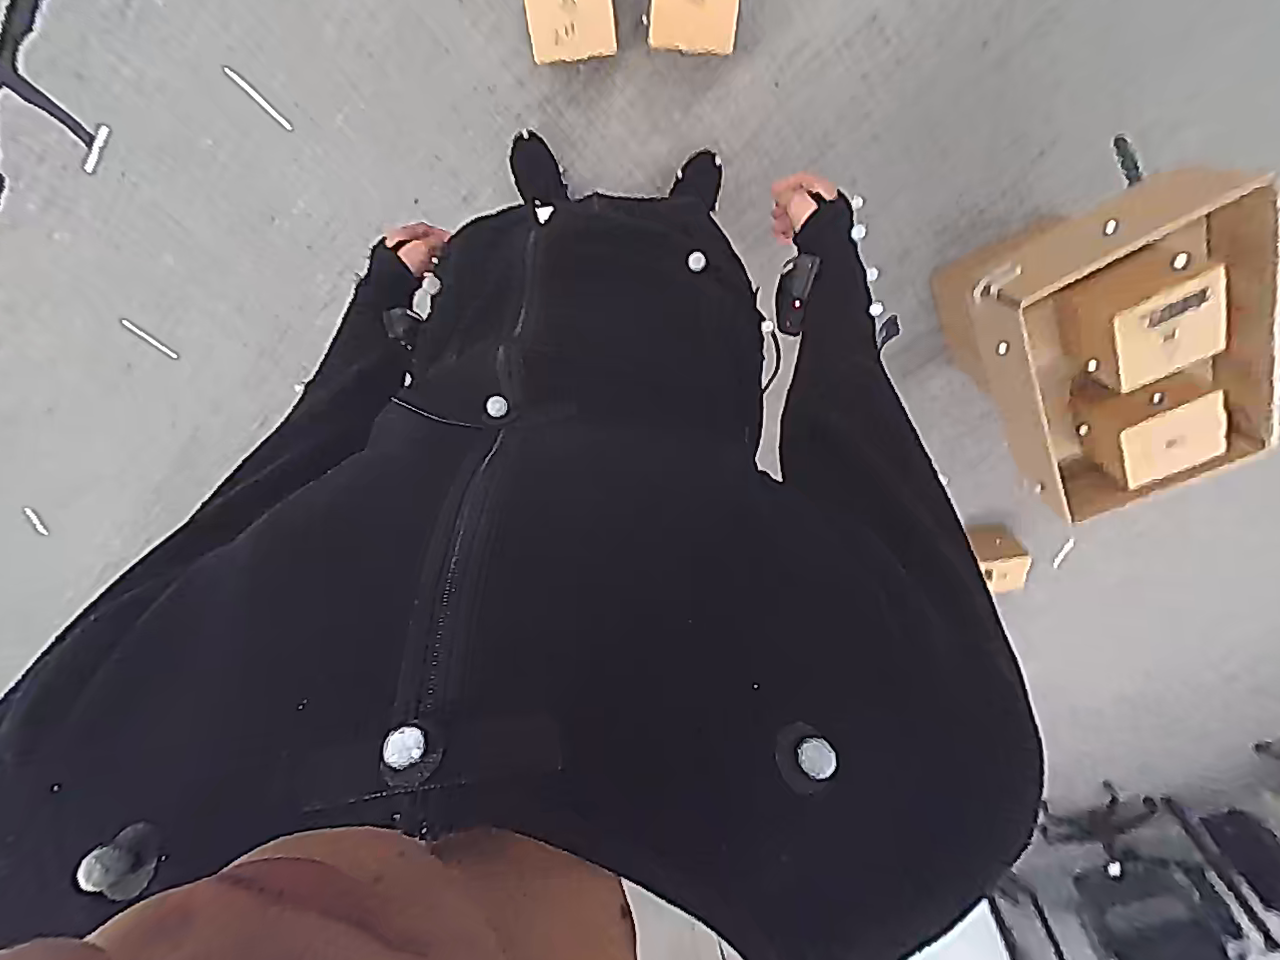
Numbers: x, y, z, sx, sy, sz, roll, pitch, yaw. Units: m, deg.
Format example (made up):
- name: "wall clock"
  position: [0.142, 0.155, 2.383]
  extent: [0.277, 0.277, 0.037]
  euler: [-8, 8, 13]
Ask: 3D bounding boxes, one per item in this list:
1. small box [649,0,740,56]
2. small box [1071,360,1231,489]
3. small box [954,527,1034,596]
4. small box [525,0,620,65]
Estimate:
- name: "small box"
  position: [0.106, -0.954, 1.063]
  extent: [0.168, 0.176, 0.179]
  euler: [3, 127, -2]
- name: "small box"
  position: [1.058, -0.121, 1.128]
  extent: [0.179, 0.176, 0.168]
  euler: [-29, 119, 17]
- name: "small box"
  position: [1.259, 0.290, 1.940]
  extent: [0.179, 0.176, 0.168]
  euler: [-9, 125, 7]
- name: "small box"
  position: [-0.132, -0.943, 1.071]
  extent: [0.168, 0.176, 0.179]
  euler: [-4, 126, 5]
